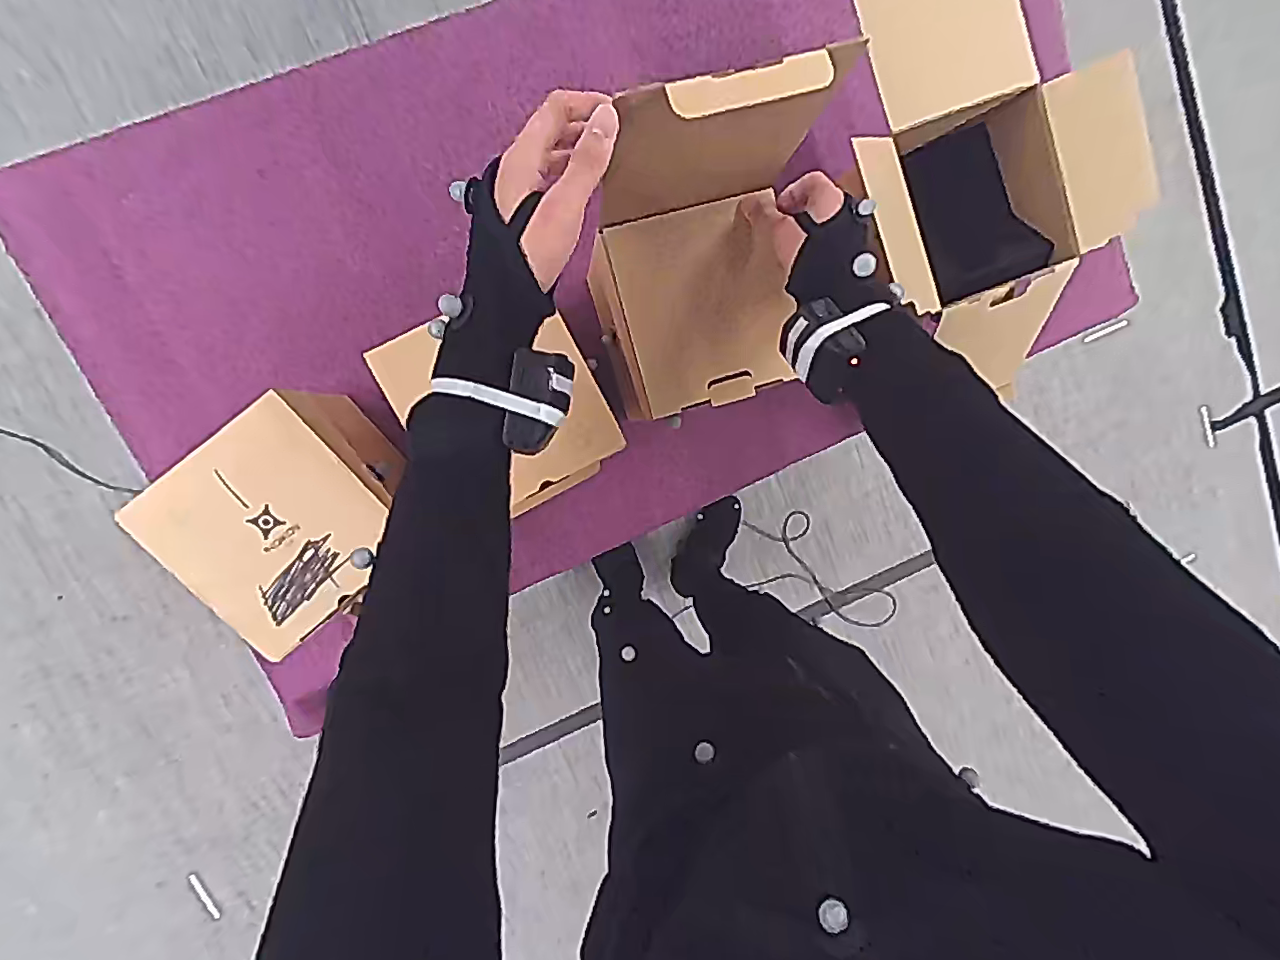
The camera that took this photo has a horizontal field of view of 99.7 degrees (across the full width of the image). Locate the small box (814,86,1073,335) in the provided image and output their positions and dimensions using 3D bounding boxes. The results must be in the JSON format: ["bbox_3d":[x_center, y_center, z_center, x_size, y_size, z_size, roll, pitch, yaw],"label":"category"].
[{"bbox_3d":[0.320,-0.280,0.602,0.168,0.176,0.179,-21,99,-5],"label":"small box"}]
